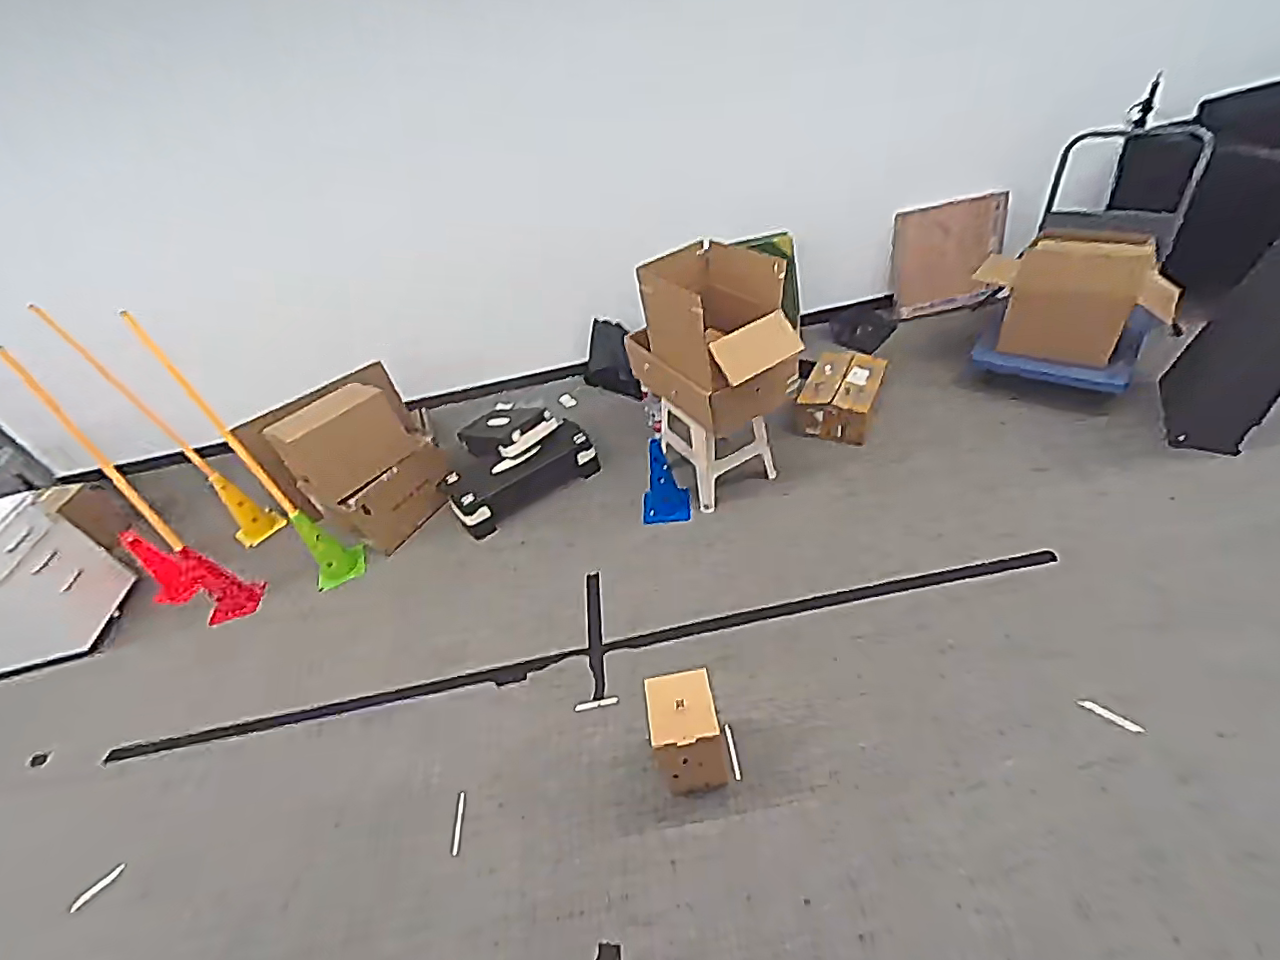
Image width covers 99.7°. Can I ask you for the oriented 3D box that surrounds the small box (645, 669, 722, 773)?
[{"bbox_3d":[0.111,0.619,1.388,0.168,0.176,0.179,-11,41,1],"label":"small box"}]
